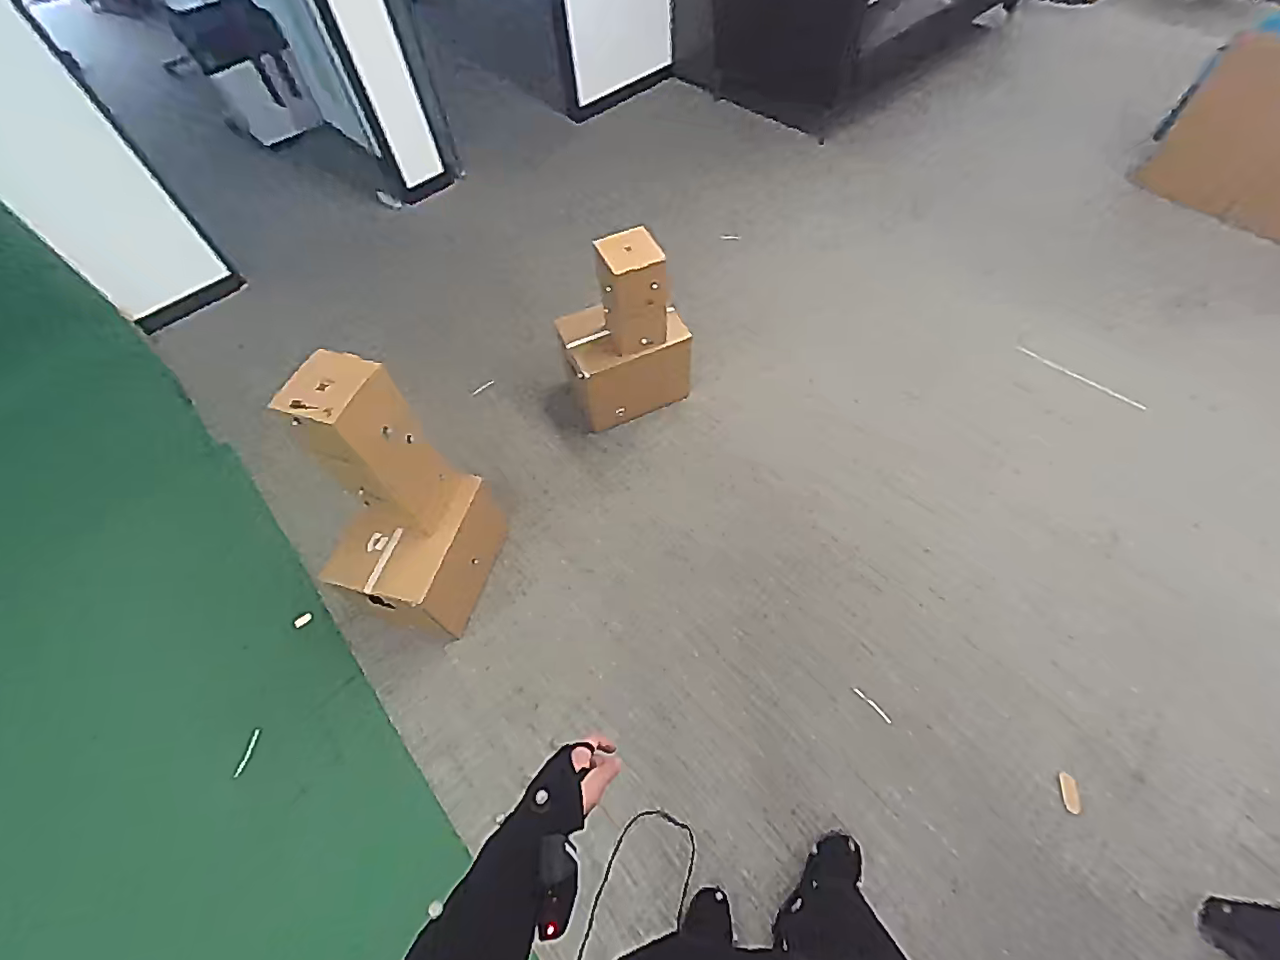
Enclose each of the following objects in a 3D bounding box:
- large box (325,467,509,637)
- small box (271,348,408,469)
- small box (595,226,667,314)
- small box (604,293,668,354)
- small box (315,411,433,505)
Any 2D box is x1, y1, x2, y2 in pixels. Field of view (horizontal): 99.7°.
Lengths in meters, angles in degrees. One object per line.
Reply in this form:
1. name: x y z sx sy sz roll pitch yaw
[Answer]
1. large box: -0.641 0.209 1.636 0.320 0.320 0.408 10 60 12
2. small box: -0.641 -0.155 1.185 0.168 0.176 0.179 15 59 13
3. small box: -0.023 -0.628 1.642 0.168 0.176 0.179 -22 59 -10
4. small box: -0.015 -0.548 1.783 0.168 0.176 0.179 -20 60 -9
5. small box: -0.635 -0.066 1.323 0.168 0.176 0.179 14 60 13
